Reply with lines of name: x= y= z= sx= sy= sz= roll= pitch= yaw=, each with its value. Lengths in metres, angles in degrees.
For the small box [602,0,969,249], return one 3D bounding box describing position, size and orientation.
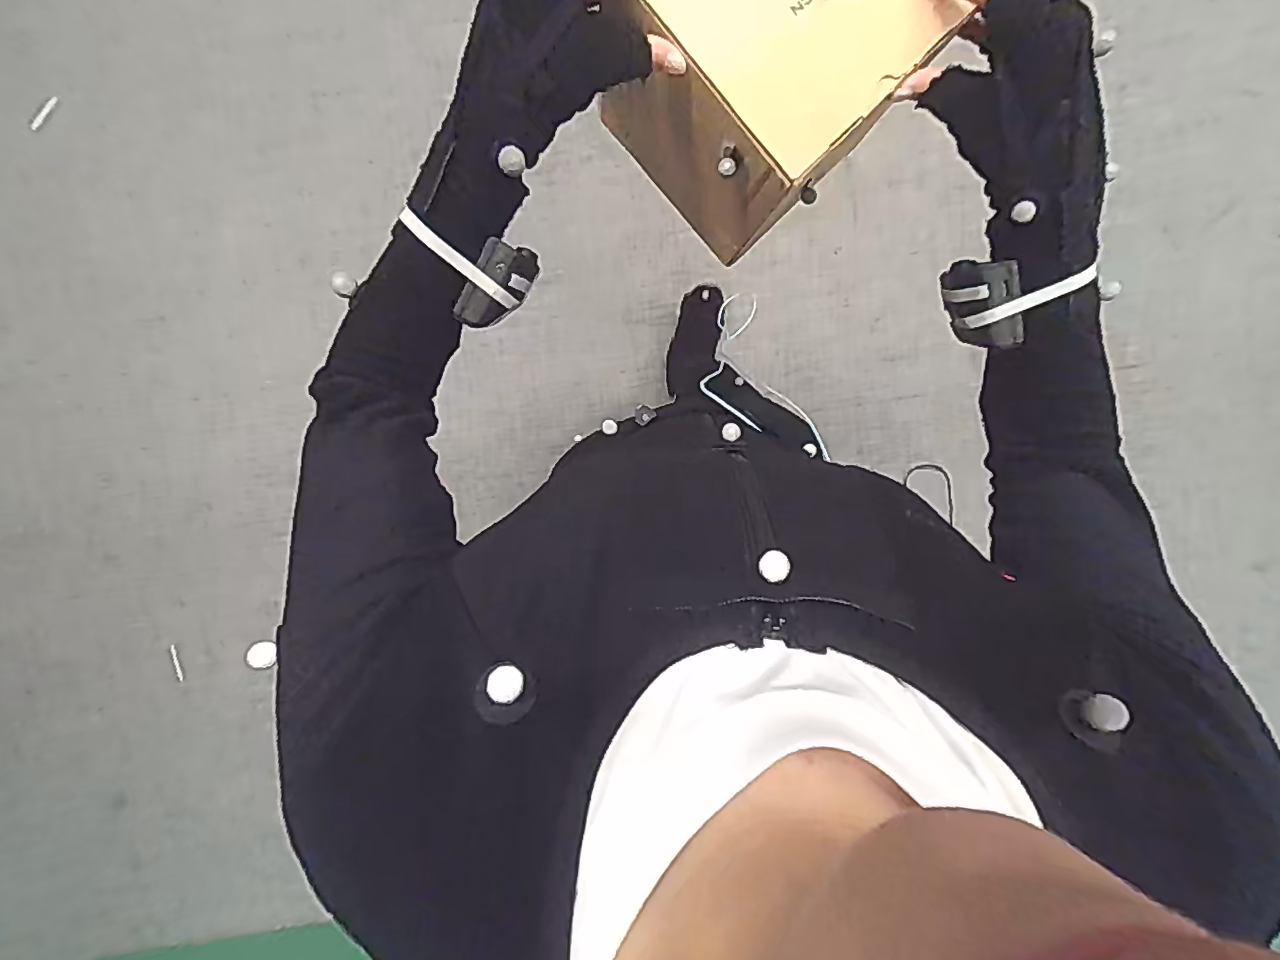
small box: x=0.084 y=-0.313 z=0.408 sx=0.168 sy=0.176 sz=0.179 roll=-43 pitch=98 yaw=-1
